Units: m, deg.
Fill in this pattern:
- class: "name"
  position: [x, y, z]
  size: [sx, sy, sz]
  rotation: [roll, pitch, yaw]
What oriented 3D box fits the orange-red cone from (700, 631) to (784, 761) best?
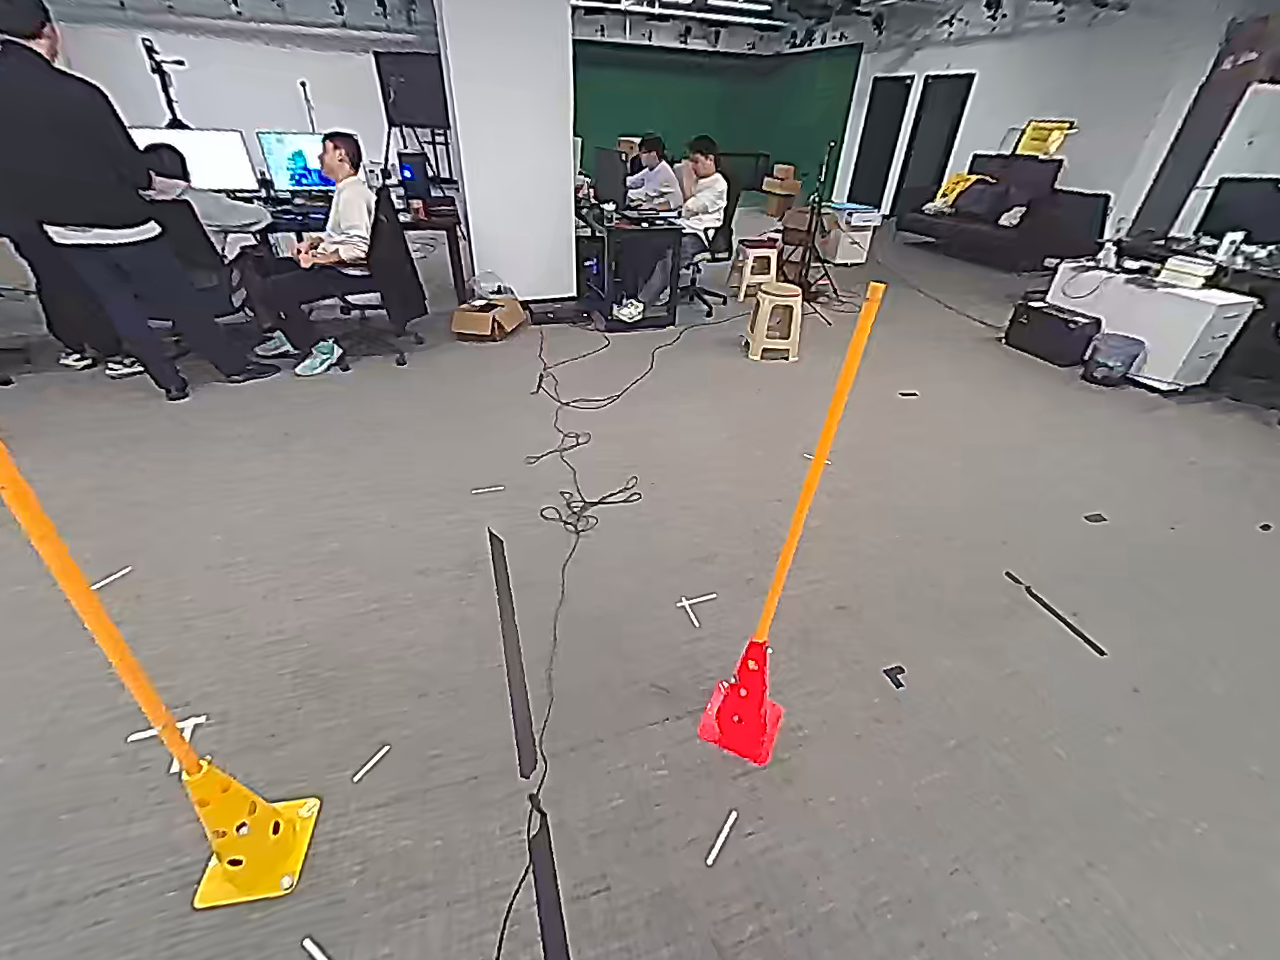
- class: "orange-red cone"
  position: [0.291, 0.531, 1.423]
  size: [0.198, 0.360, 0.199]
  rotation: [17, 38, 22]
